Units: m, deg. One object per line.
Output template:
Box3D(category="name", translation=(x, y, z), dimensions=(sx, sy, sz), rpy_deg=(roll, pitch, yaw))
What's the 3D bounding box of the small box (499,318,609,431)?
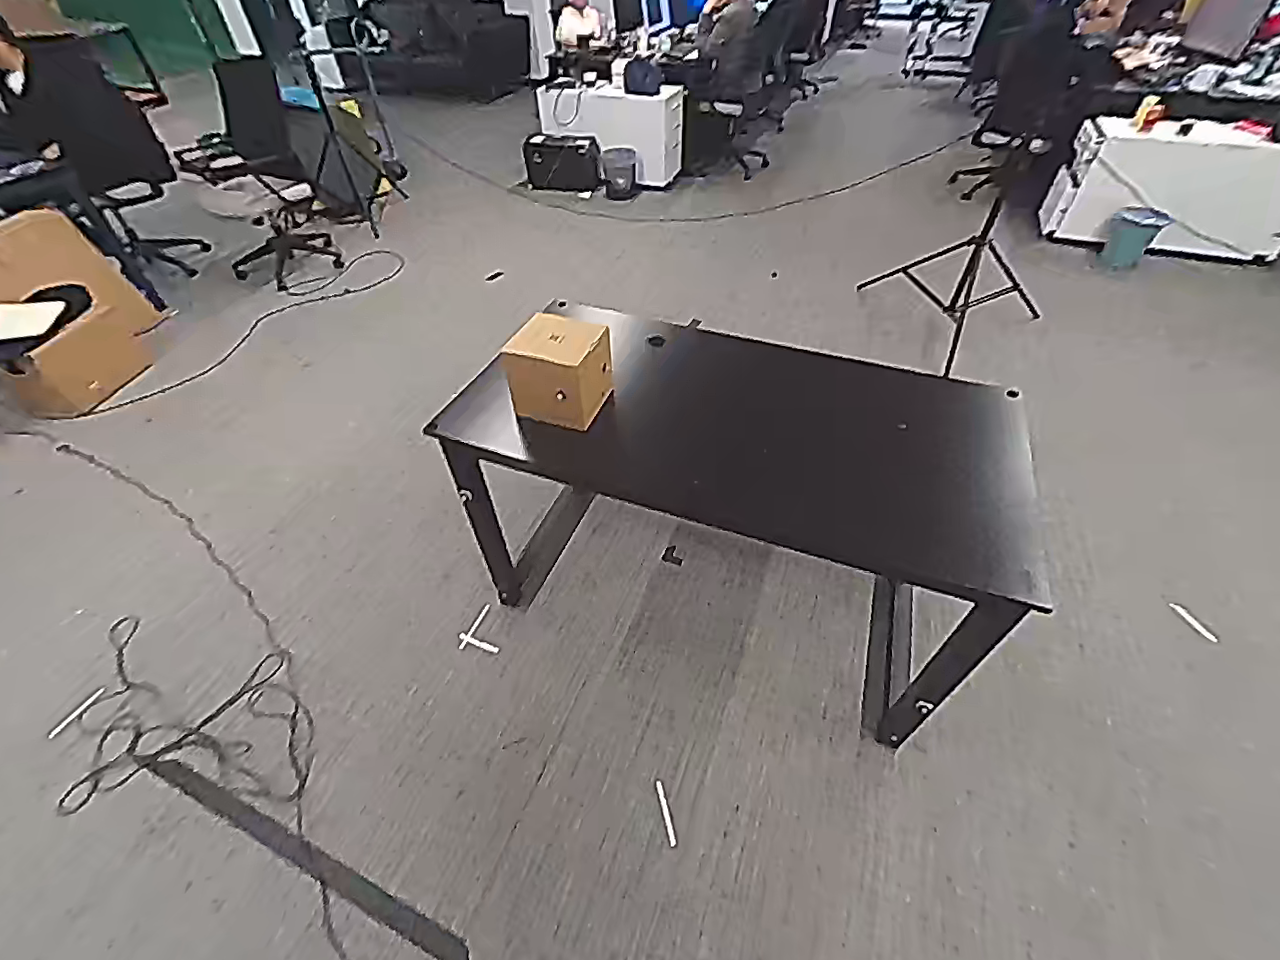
Box3D(category="small box", translation=(-0.175, -0.227, 1.175), dimensions=(0.179, 0.176, 0.168), rpy_deg=(13, 47, 14))
